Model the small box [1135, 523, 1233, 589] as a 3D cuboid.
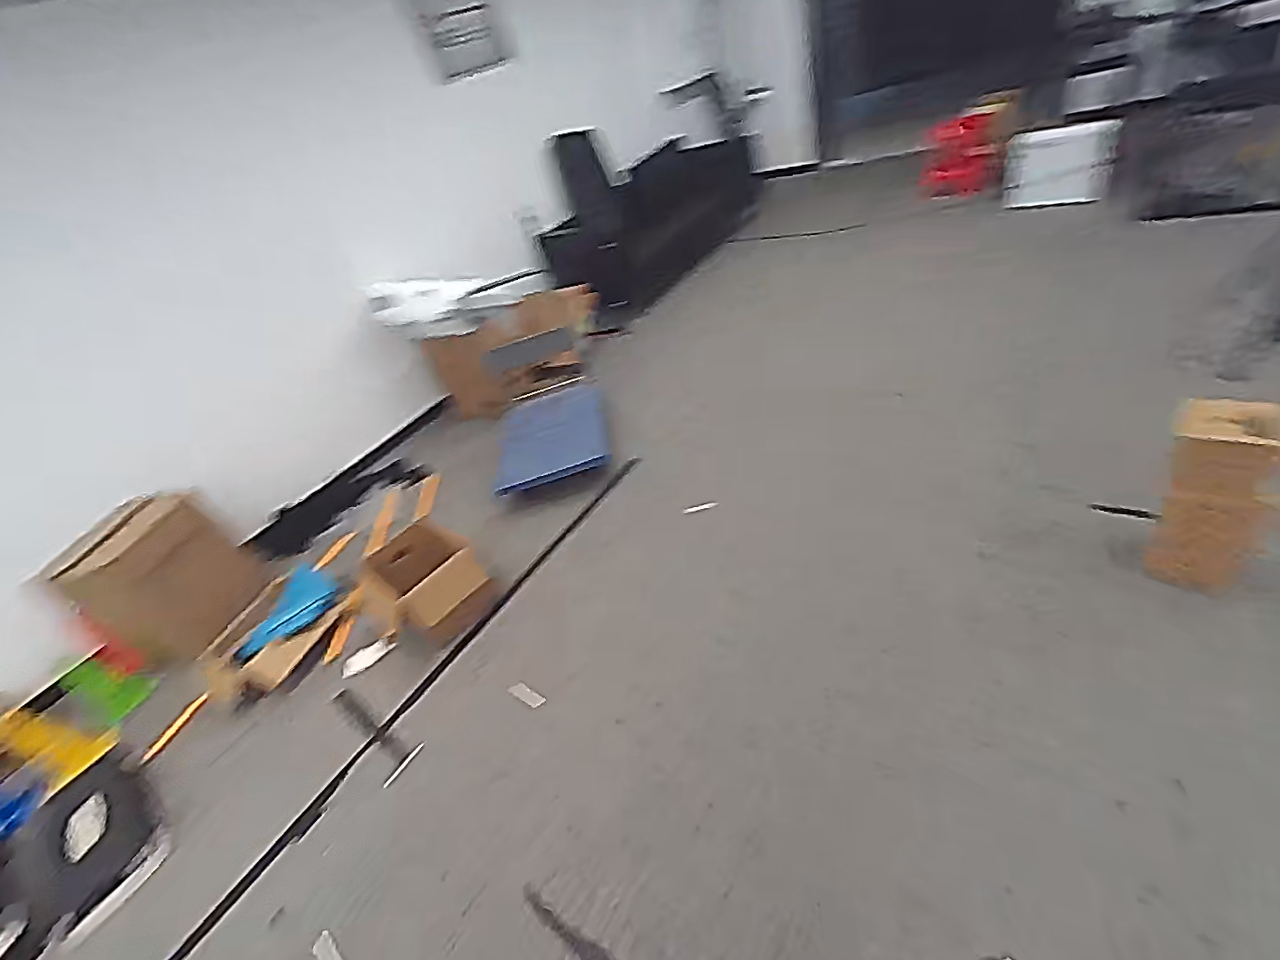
[{"bbox_3d":[1.511,0.172,1.503,0.168,0.176,0.179,15,49,39],"label":"small box"}]
